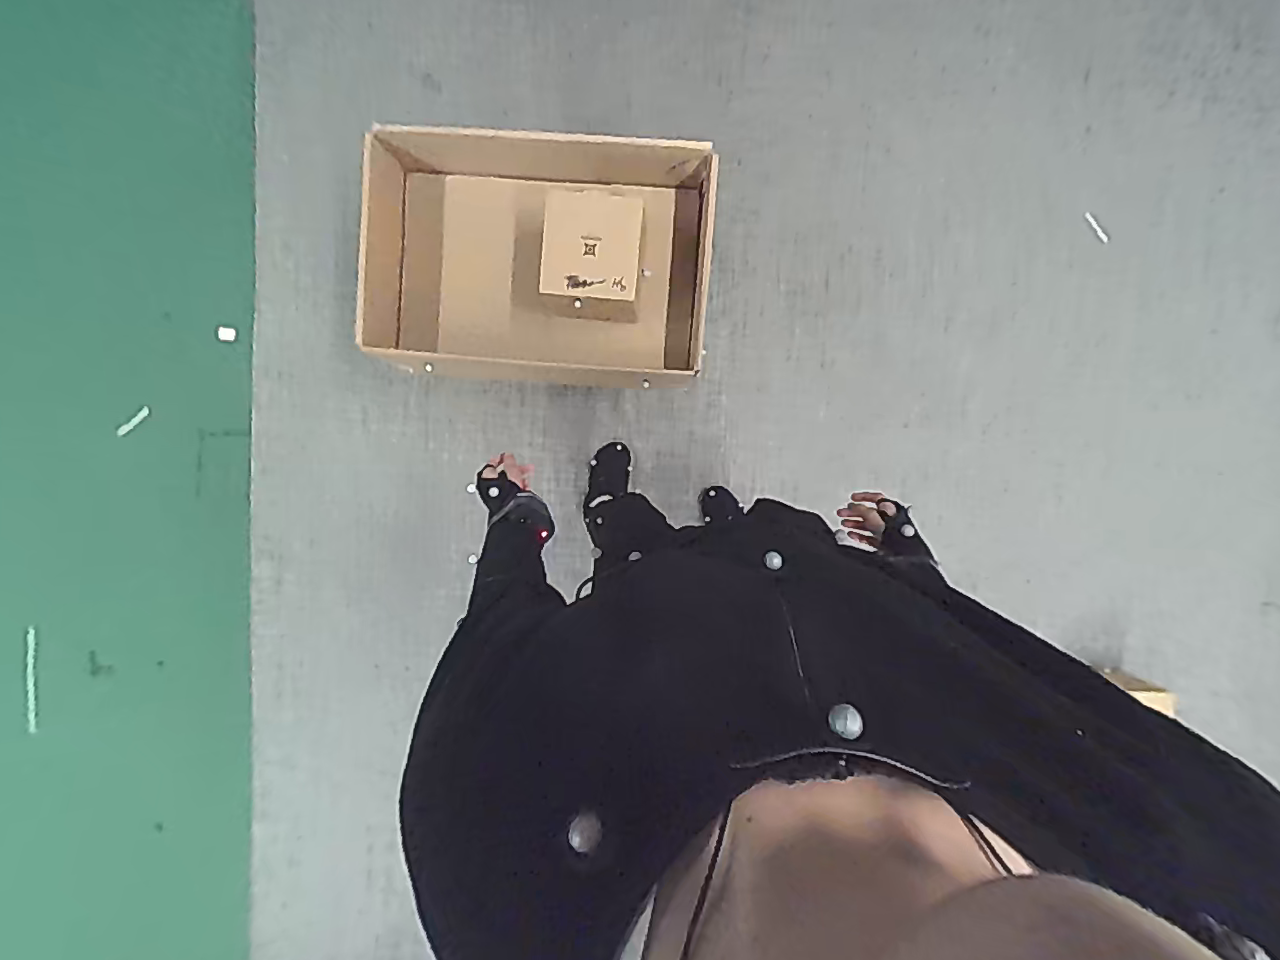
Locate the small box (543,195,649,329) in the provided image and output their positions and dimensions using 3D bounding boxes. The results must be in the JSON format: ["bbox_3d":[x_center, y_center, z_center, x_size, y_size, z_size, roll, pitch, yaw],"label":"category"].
[{"bbox_3d":[-0.072,-0.383,0.975,0.168,0.176,0.179,3,93,3],"label":"small box"}]
